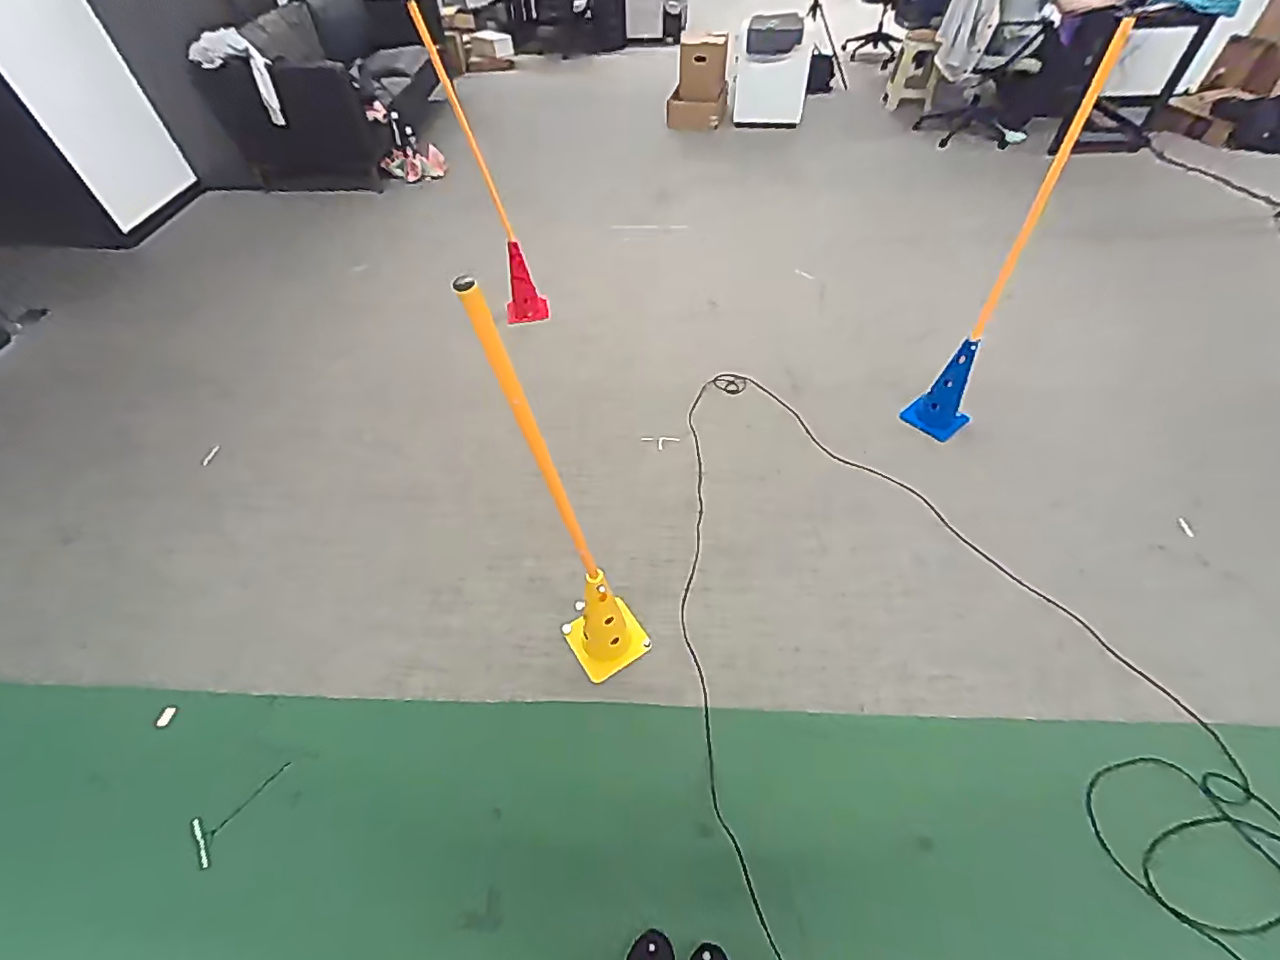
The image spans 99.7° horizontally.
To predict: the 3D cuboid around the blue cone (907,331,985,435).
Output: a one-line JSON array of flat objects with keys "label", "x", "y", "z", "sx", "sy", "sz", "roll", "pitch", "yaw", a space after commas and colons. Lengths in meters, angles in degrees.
[{"label": "blue cone", "x": 1.137, "y": -0.367, "z": 1.952, "sx": 0.193, "sy": 0.380, "sz": 0.192, "roll": -35, "pitch": 56, "yaw": -26}]
